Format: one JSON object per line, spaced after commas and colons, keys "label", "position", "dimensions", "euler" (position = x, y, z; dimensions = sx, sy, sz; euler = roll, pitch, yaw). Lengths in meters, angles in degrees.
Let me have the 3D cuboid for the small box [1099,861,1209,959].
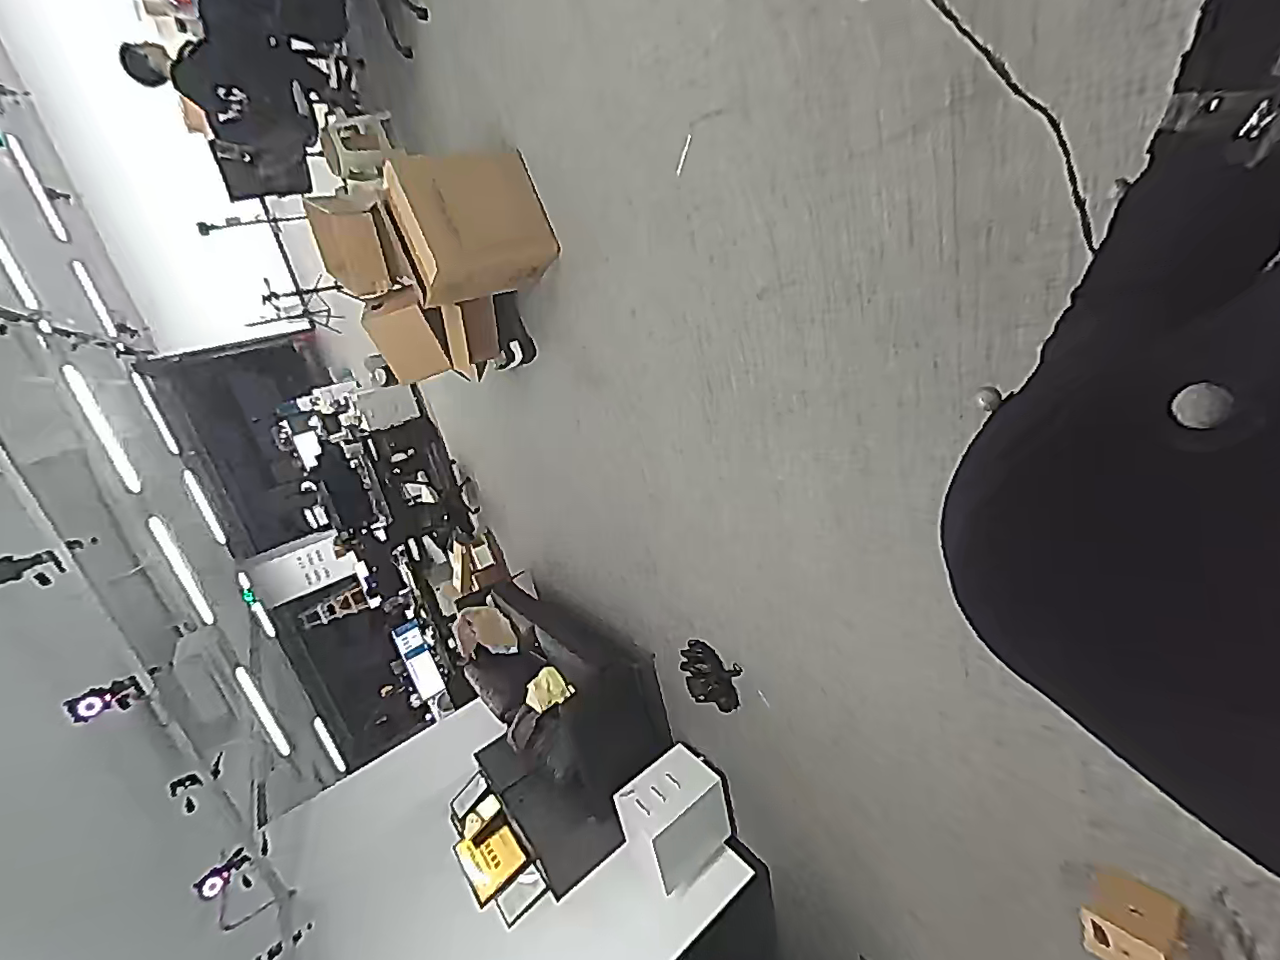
{"label": "small box", "position": [1.408, 1.198, 1.481], "dimensions": [0.179, 0.176, 0.168], "euler": [0, 112, 58]}
